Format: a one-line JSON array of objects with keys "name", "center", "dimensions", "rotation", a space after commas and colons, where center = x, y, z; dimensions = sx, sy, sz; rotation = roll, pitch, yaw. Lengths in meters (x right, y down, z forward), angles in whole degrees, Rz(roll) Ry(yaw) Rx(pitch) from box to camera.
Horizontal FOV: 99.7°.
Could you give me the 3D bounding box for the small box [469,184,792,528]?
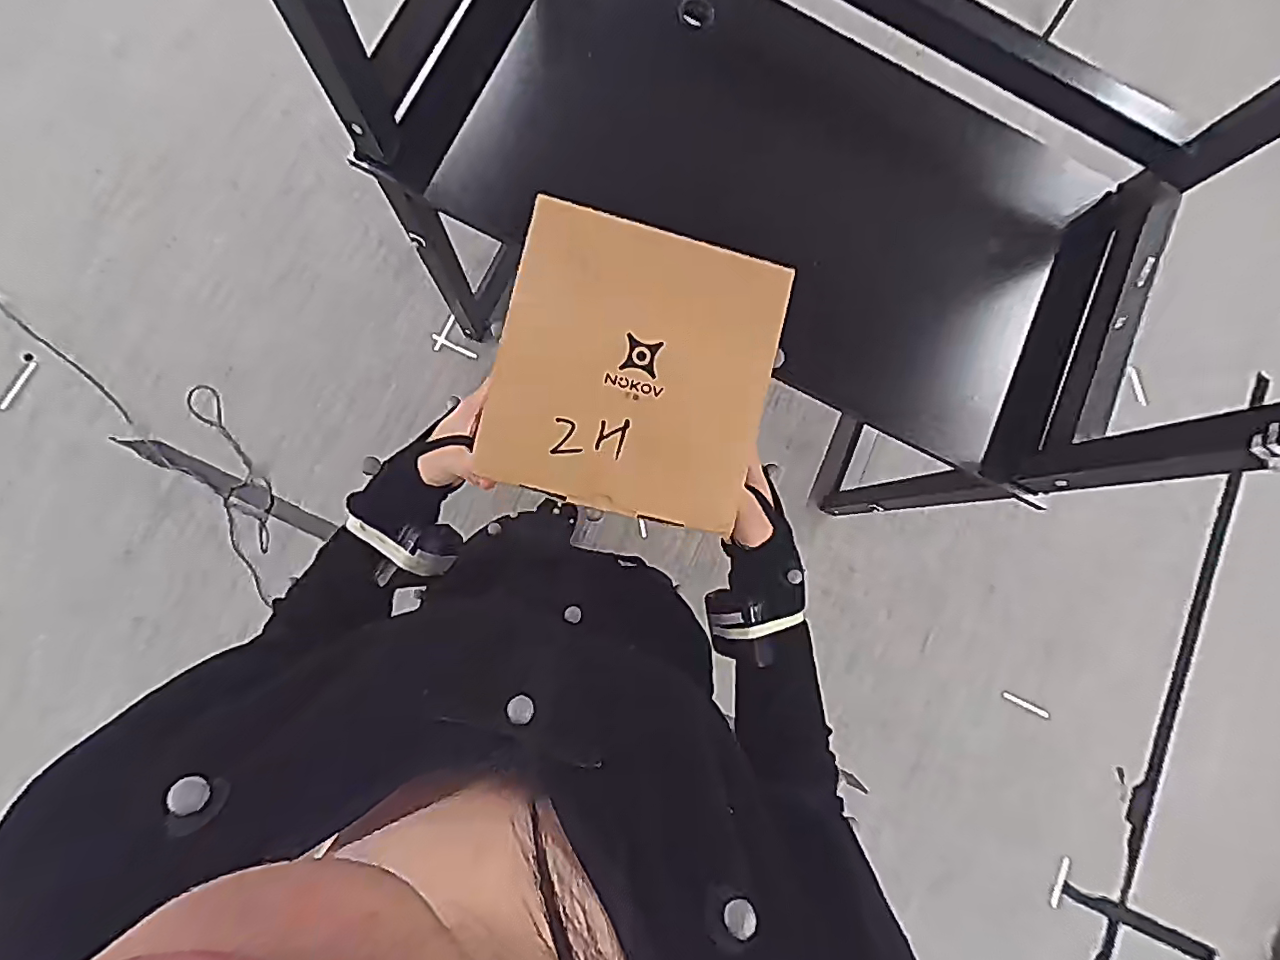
[{"name": "small box", "center": [-0.011, -0.073, 0.405], "dimensions": [0.168, 0.176, 0.179], "rotation": [14, 89, -5]}]
